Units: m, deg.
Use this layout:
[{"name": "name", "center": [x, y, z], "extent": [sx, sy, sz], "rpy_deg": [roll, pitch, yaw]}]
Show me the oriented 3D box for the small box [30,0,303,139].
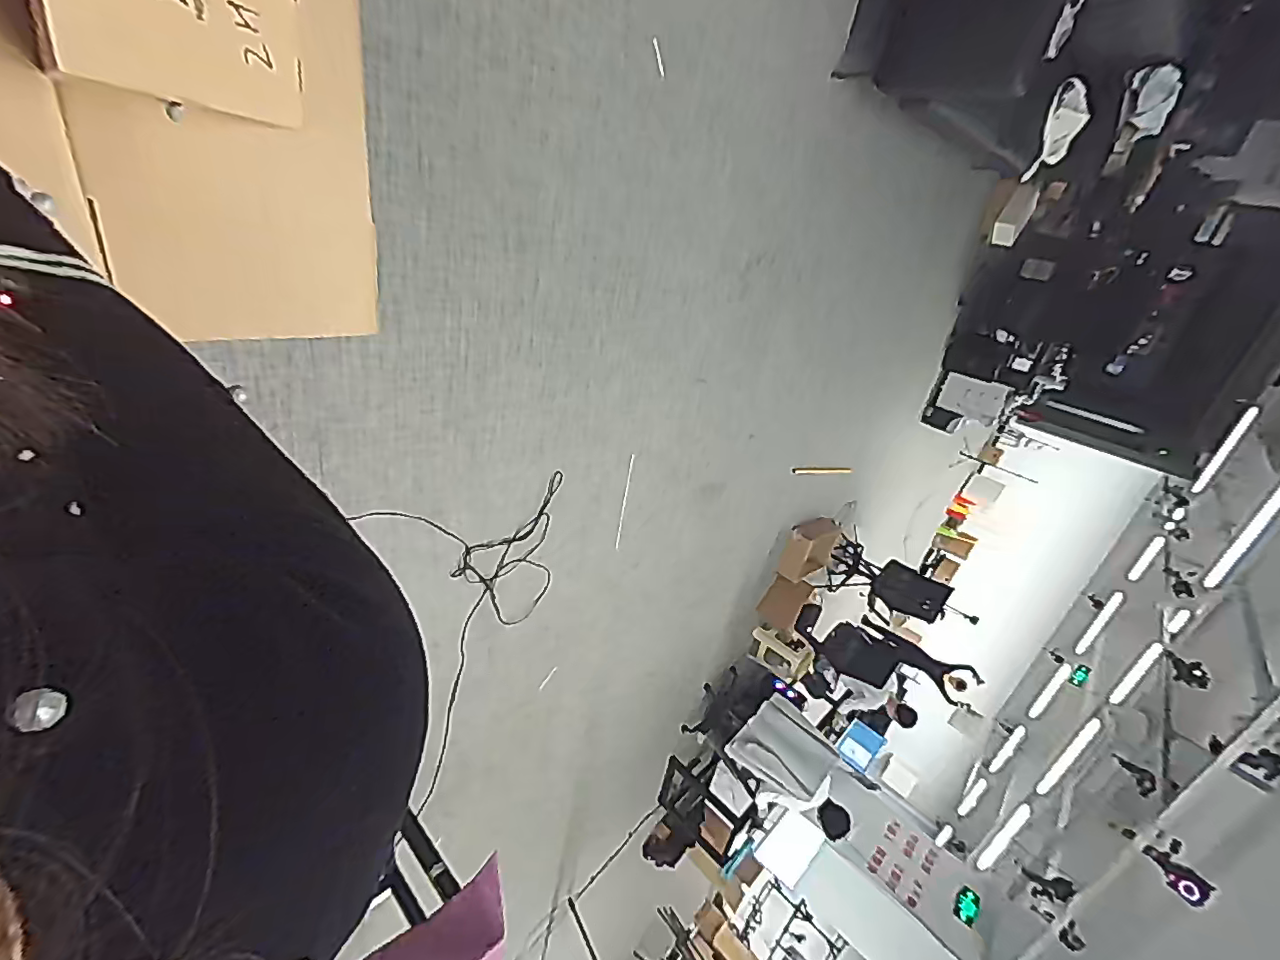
[{"name": "small box", "center": [-0.440, -0.432, 0.500], "extent": [0.179, 0.176, 0.168], "rpy_deg": [-14, 125, -44]}]
